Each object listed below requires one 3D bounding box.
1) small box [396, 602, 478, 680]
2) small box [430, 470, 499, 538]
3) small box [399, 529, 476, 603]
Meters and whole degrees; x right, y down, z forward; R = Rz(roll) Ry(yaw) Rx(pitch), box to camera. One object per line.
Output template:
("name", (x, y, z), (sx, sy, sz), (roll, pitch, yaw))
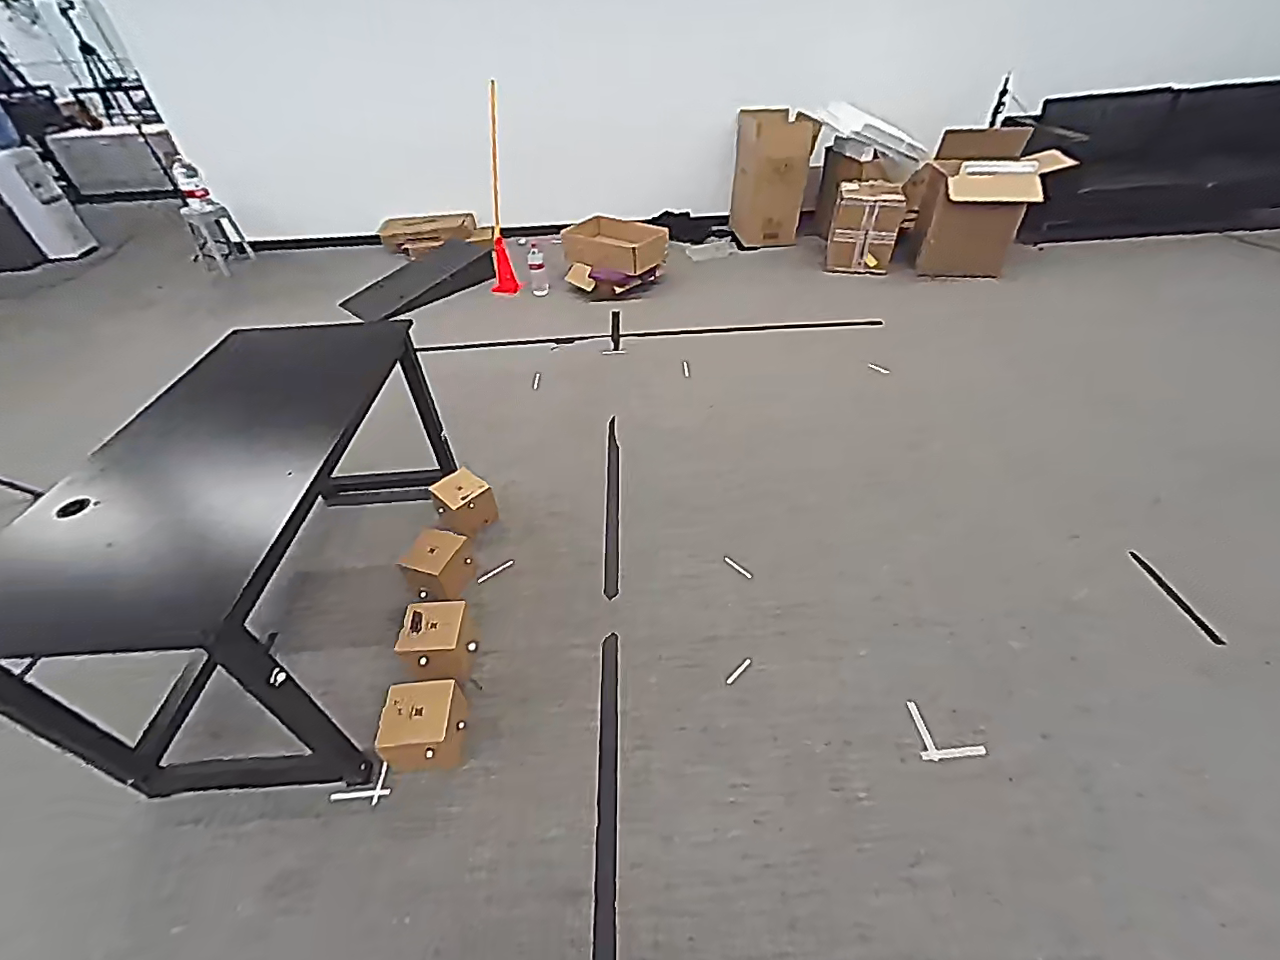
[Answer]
("small box", (-0.608, 0.492, 1.643), (0.179, 0.176, 0.168), (-3, 42, -2))
("small box", (-0.674, 0.095, 2.085), (0.179, 0.176, 0.168), (29, 51, 31))
("small box", (-0.685, 0.300, 1.862), (0.168, 0.176, 0.179), (10, 45, 16))
